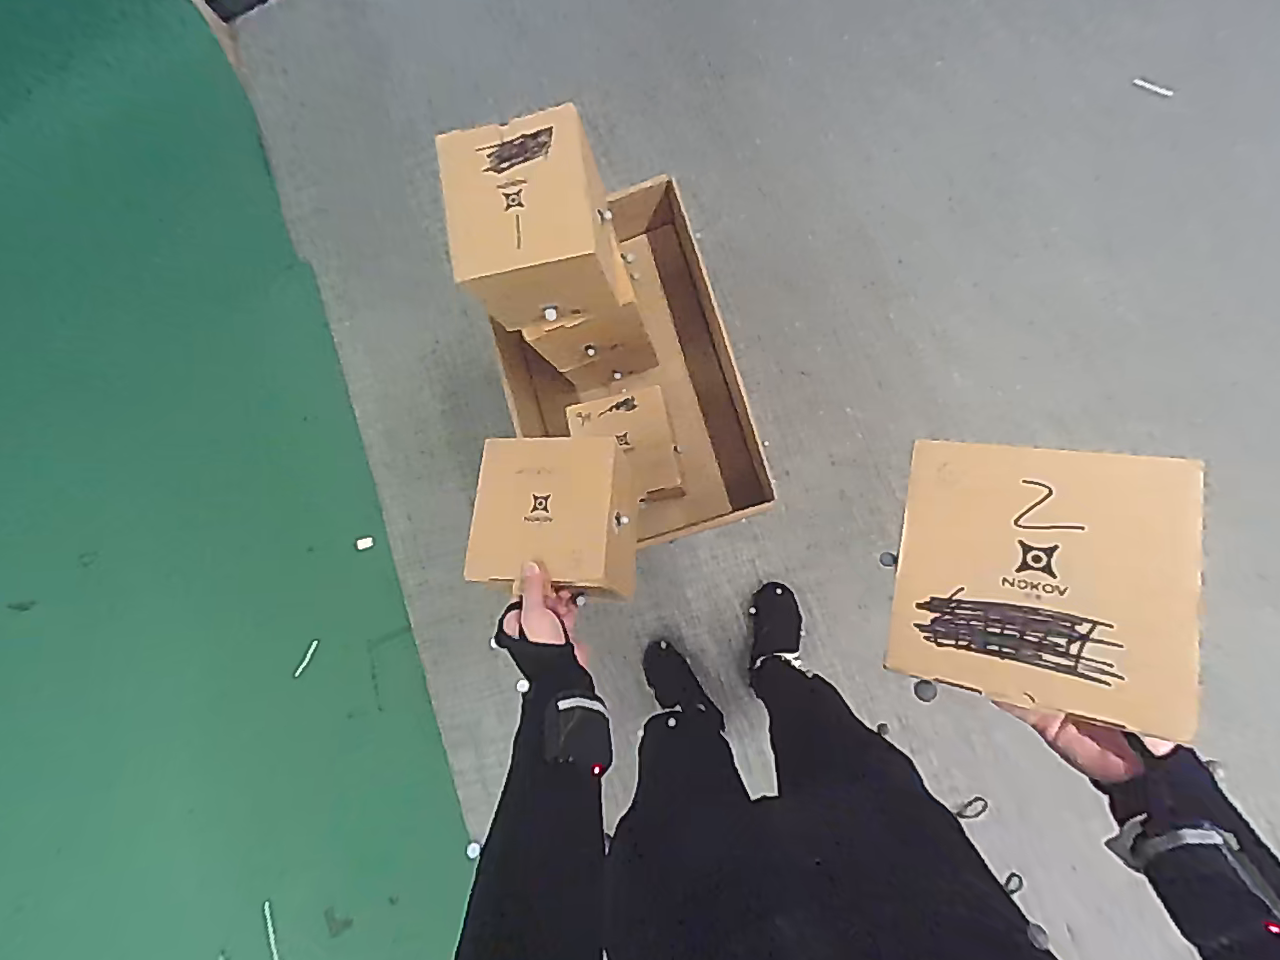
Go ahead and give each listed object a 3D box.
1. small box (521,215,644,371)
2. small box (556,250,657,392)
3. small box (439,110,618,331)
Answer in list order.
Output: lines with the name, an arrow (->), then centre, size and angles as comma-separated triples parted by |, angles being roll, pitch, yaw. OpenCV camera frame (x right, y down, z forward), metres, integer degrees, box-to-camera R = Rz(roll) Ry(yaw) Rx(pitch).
small box -> -0.101, -0.294, 0.843 | 0.168, 0.176, 0.179 | -18, 83, 6
small box -> -0.076, -0.284, 1.003 | 0.168, 0.176, 0.179 | -18, 83, 7
small box -> -0.130, -0.311, 0.682 | 0.168, 0.176, 0.179 | -9, 85, 8
